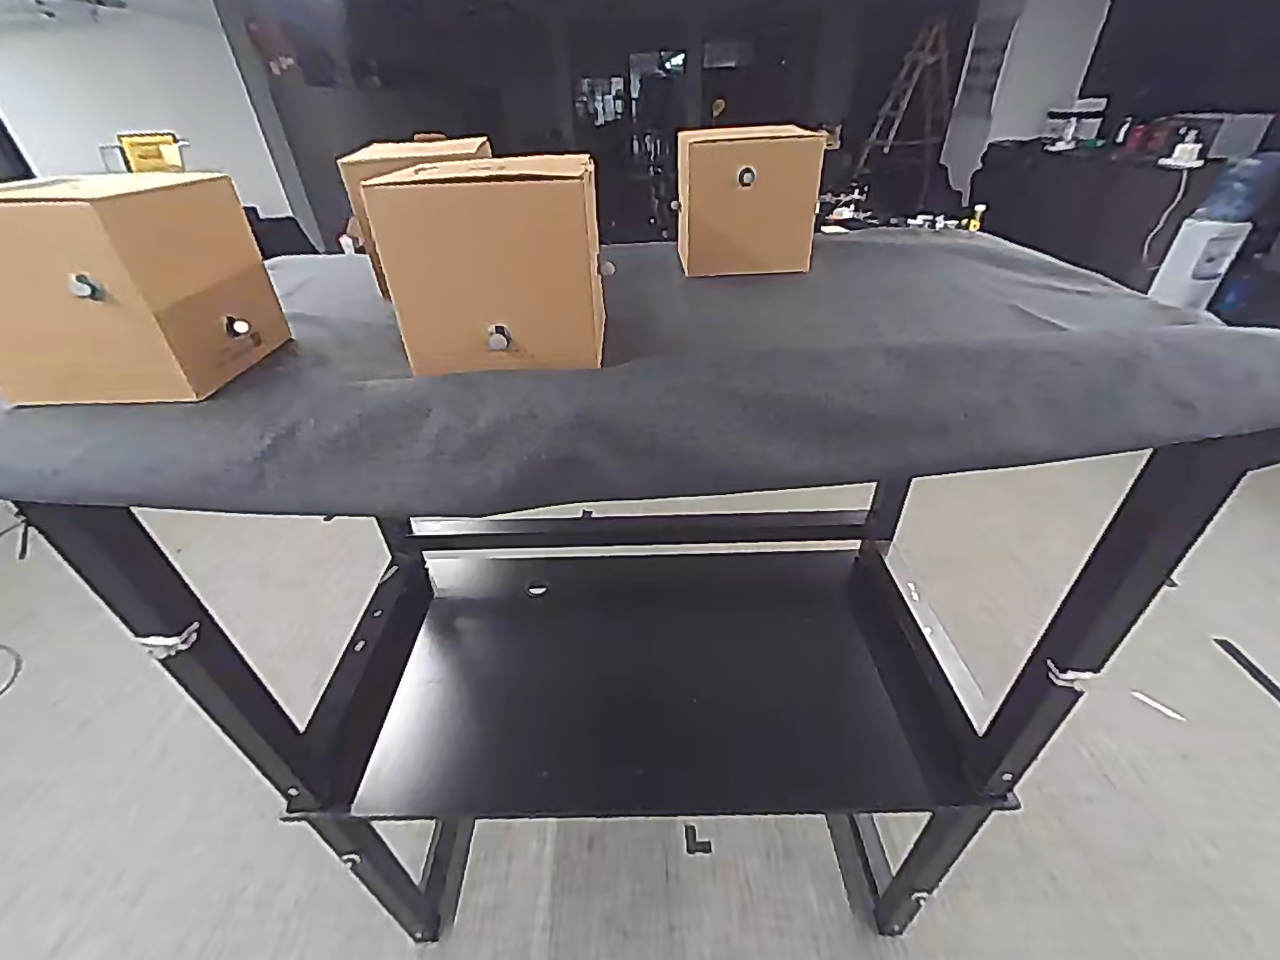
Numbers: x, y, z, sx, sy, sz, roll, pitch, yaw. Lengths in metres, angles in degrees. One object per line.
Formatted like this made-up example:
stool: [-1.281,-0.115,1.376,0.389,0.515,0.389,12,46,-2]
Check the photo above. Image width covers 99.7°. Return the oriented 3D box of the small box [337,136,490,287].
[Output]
small box: [-0.288,-0.378,0.762,0.168,0.176,0.179,-7,36,-4]

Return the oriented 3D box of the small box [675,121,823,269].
small box: [0.144,-0.409,0.776,0.179,0.176,0.168,-2,36,1]

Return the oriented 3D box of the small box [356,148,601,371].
small box: [-0.130,-0.213,0.520,0.179,0.176,0.168,-2,34,0]
